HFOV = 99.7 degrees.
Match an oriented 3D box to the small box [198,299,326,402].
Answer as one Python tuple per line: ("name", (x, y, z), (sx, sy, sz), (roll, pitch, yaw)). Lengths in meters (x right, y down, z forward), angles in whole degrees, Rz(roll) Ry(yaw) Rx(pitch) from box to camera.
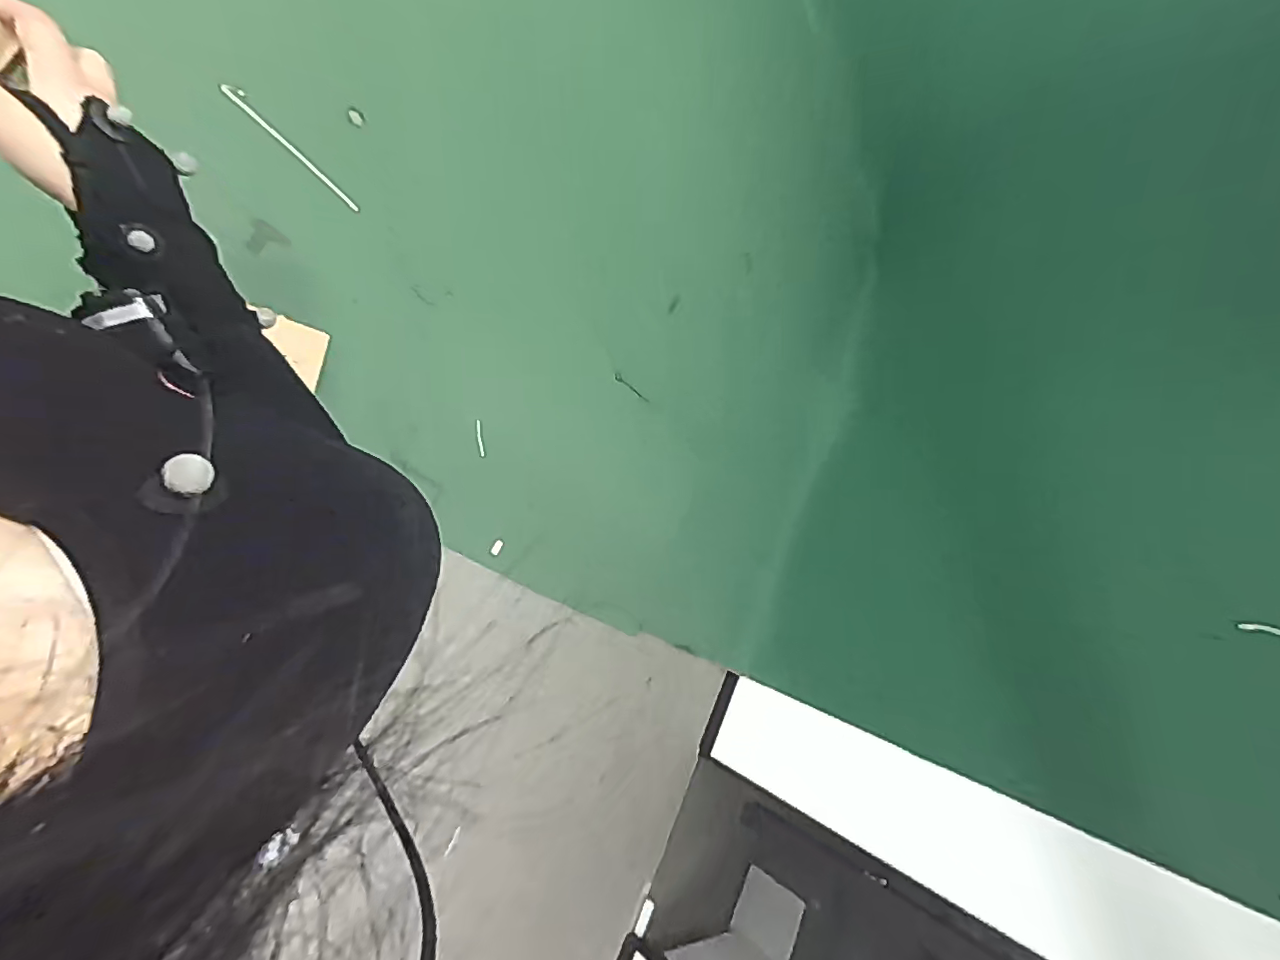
("small box", (-0.829, -0.277, 1.182), (0.179, 0.176, 0.168), (18, 86, -49))
